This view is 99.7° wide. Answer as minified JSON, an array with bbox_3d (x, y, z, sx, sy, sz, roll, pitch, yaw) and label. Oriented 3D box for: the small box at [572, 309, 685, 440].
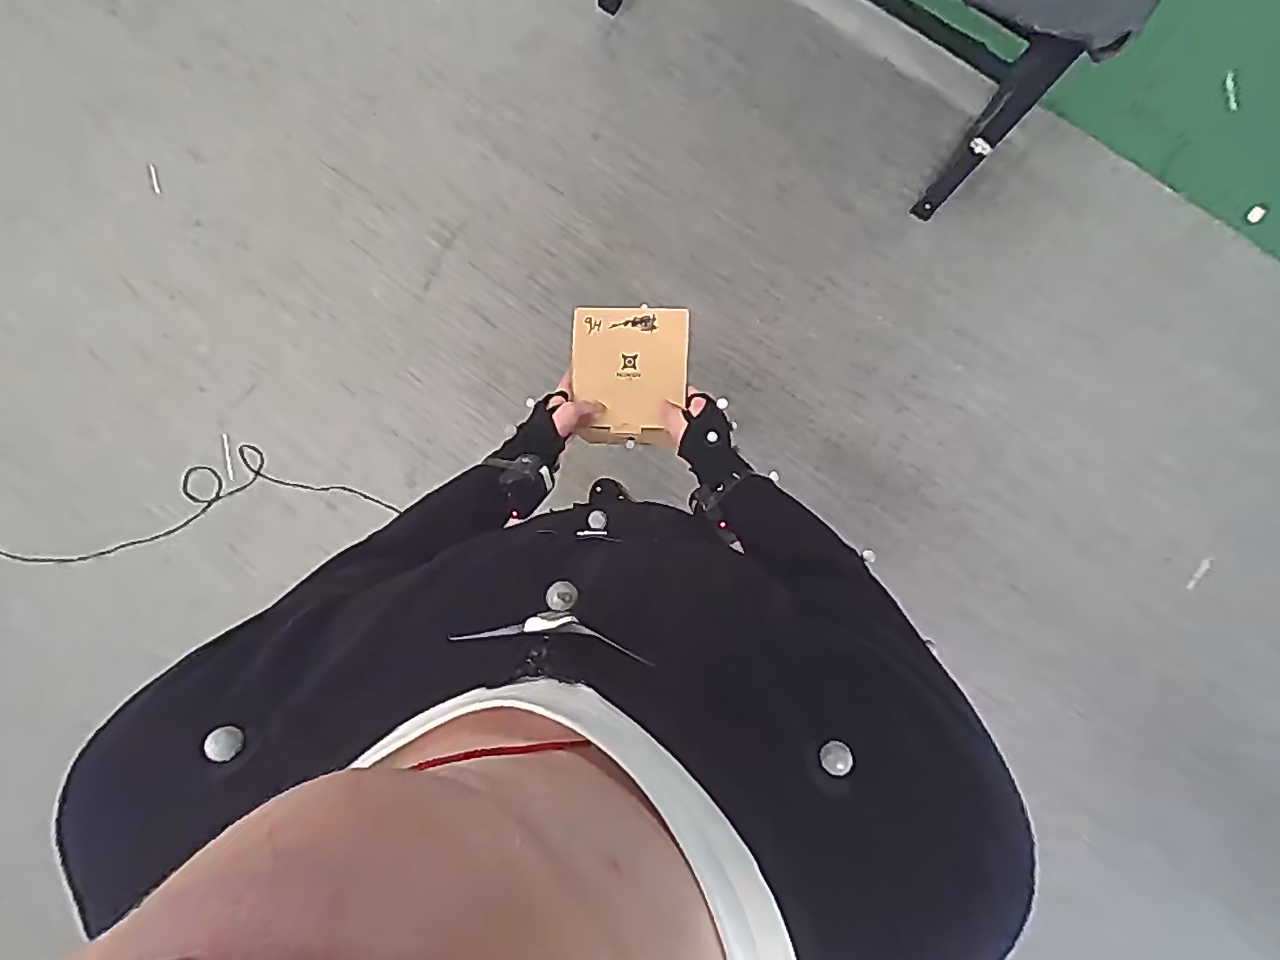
[{"bbox_3d":[-0.011,-0.156,0.860,0.168,0.176,0.179,-1,87,4],"label":"small box"}]
